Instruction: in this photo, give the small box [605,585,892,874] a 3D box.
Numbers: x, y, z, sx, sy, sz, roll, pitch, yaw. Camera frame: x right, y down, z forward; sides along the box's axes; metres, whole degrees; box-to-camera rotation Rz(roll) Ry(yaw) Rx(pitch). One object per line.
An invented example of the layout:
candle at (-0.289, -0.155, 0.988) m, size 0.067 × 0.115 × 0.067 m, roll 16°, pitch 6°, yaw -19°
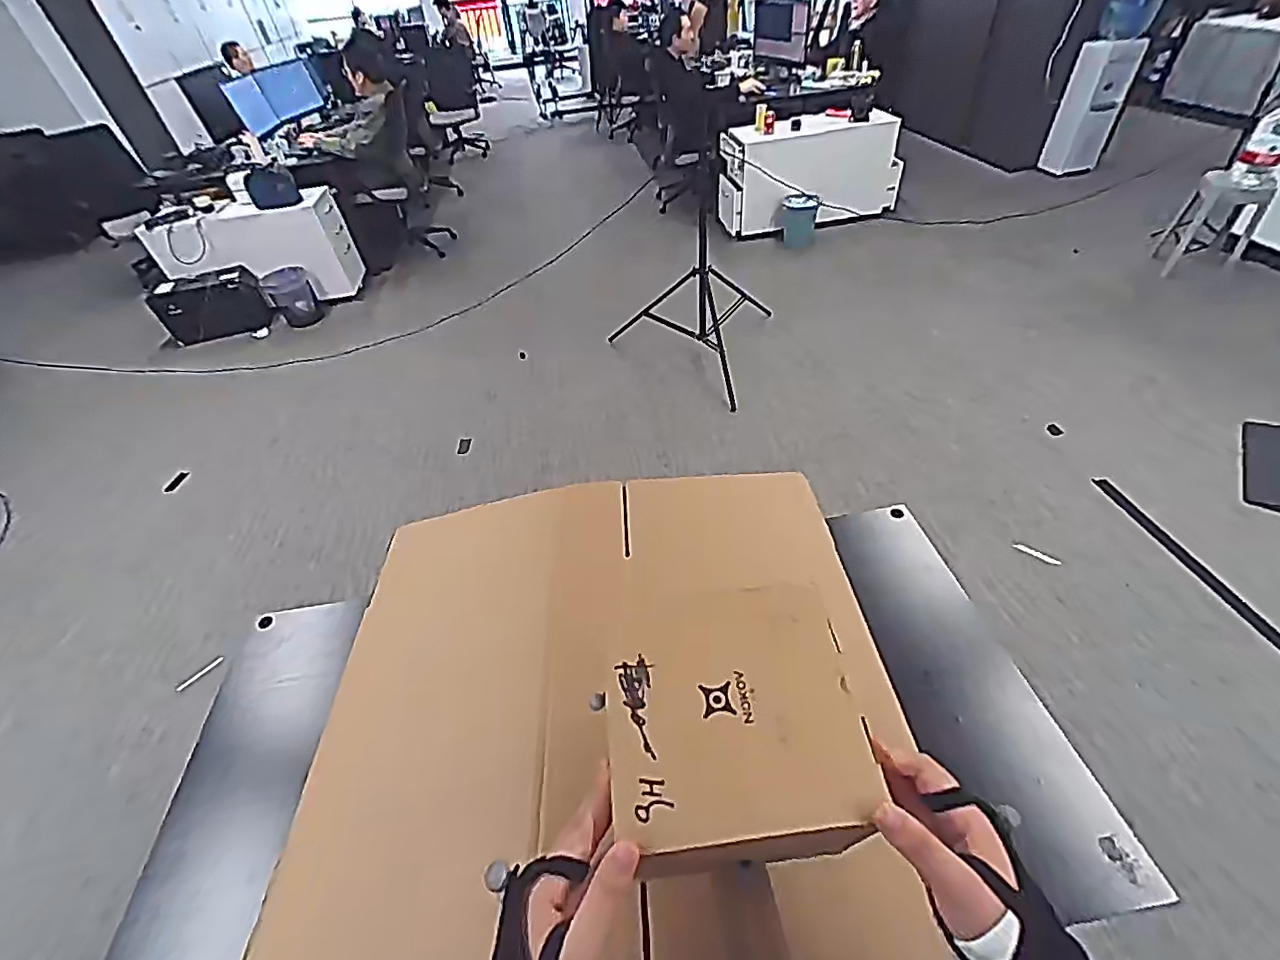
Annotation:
small box at (0.067, 0.207, 0.443) m, size 0.179 × 0.176 × 0.168 m, roll -6°, pitch 48°, yaw -2°
